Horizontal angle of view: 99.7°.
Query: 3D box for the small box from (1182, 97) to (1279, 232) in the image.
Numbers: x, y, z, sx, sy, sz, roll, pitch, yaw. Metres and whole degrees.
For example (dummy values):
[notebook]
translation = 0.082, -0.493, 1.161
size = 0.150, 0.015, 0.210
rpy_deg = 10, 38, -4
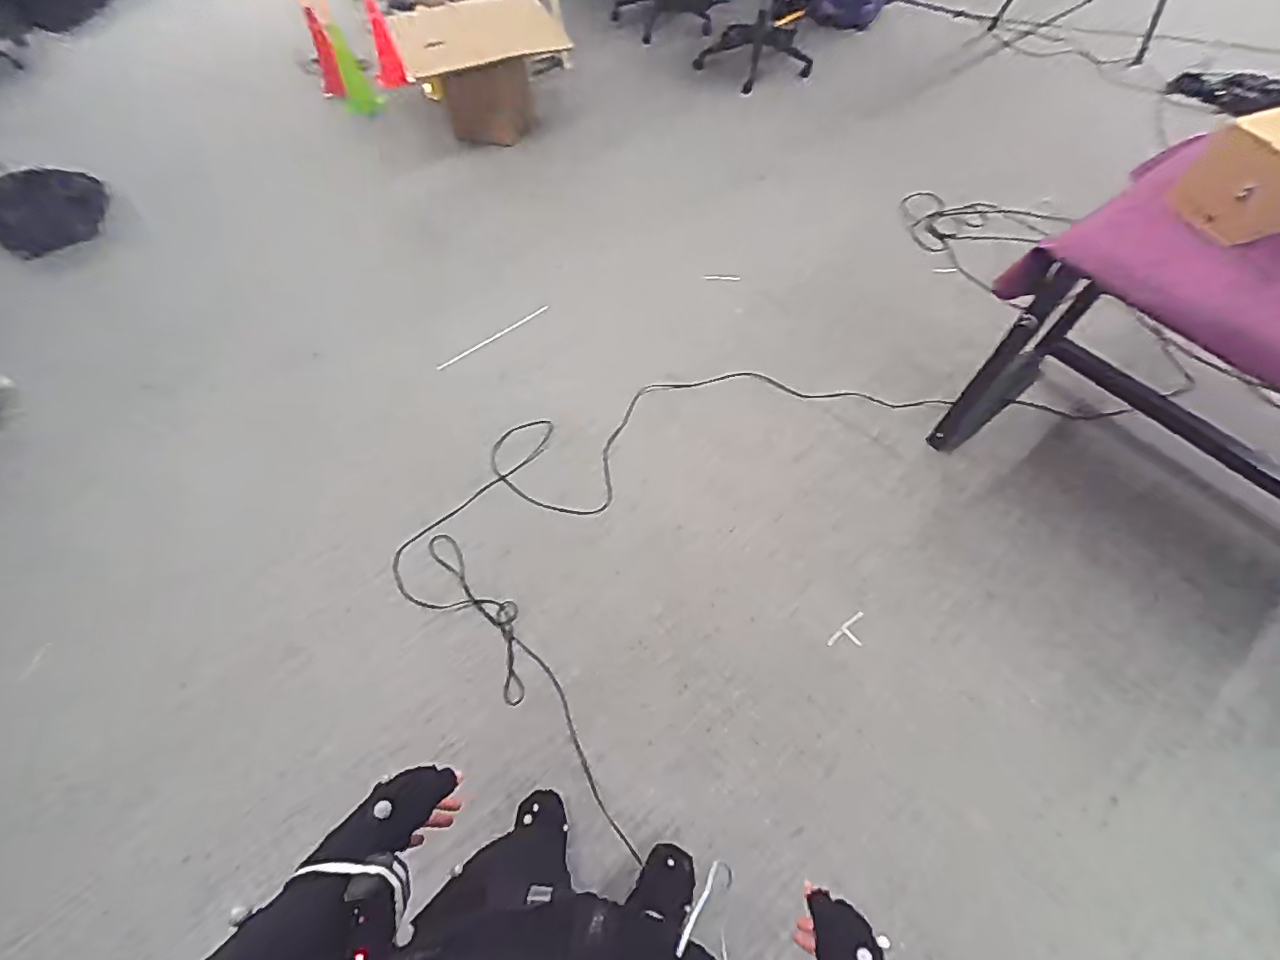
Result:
[small box]
translation = 1.216, -0.605, 1.037
size = 0.179, 0.176, 0.168
rpy_deg = -17, 61, -9
